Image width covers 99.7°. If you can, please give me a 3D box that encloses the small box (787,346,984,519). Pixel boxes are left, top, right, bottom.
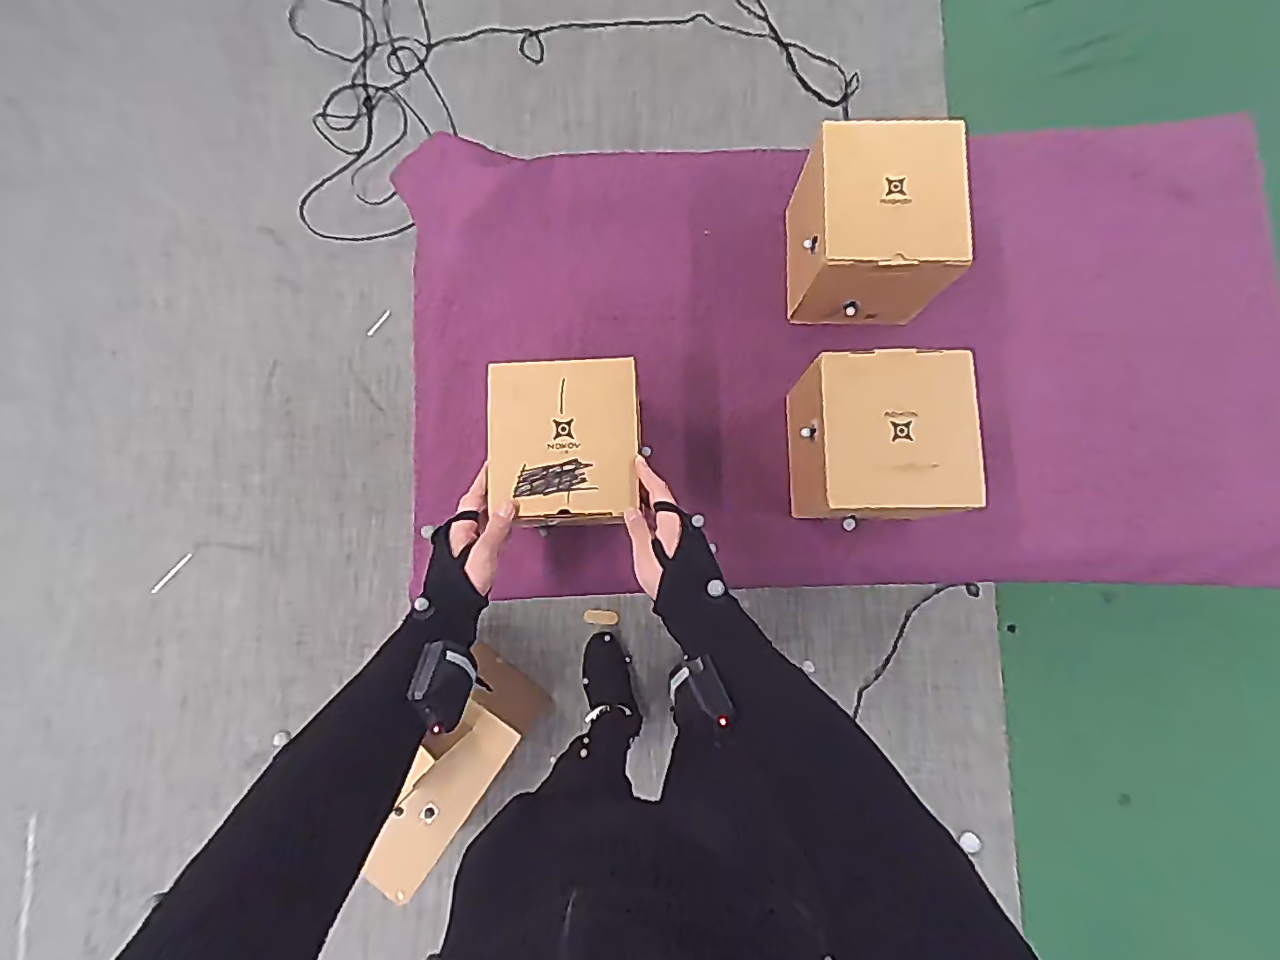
[{"bbox_3d":[0.277,-0.047,0.649,0.168,0.176,0.179,1,83,2],"label":"small box"}]

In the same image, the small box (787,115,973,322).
[{"bbox_3d":[0.288,-0.319,0.684,0.168,0.176,0.179,0,84,2],"label":"small box"}]

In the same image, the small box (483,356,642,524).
[{"bbox_3d":[-0.084,-0.037,0.658,0.168,0.176,0.179,-2,82,1],"label":"small box"}]
